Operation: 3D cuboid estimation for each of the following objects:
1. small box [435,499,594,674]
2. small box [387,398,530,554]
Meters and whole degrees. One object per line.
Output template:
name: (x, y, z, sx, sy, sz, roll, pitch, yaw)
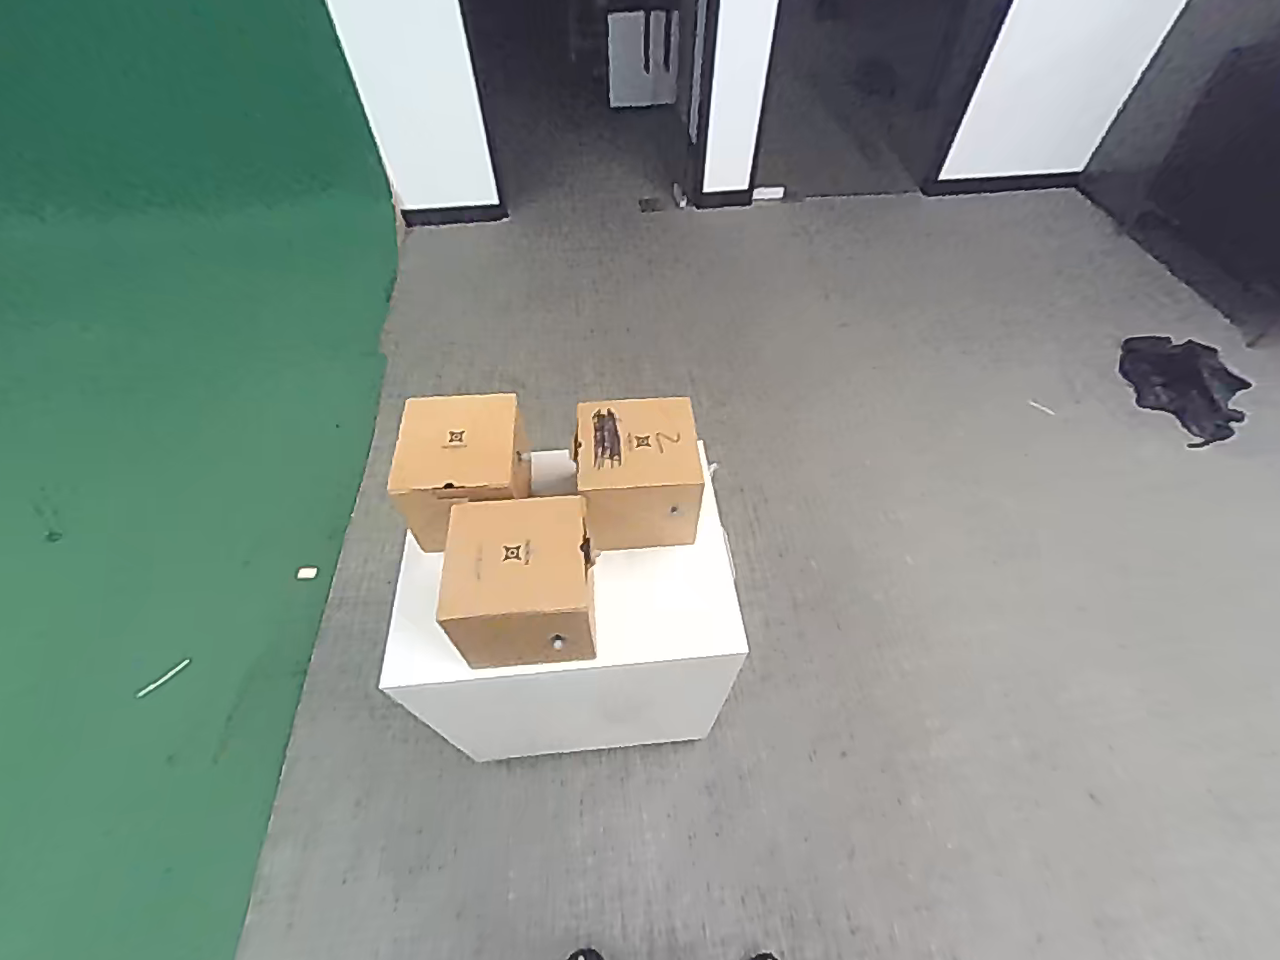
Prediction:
small box: (-0.153, 0.145, 0.723, 0.179, 0.176, 0.168, -5, 51, -3)
small box: (-0.265, -0.004, 0.835, 0.168, 0.176, 0.179, -3, 54, -5)
